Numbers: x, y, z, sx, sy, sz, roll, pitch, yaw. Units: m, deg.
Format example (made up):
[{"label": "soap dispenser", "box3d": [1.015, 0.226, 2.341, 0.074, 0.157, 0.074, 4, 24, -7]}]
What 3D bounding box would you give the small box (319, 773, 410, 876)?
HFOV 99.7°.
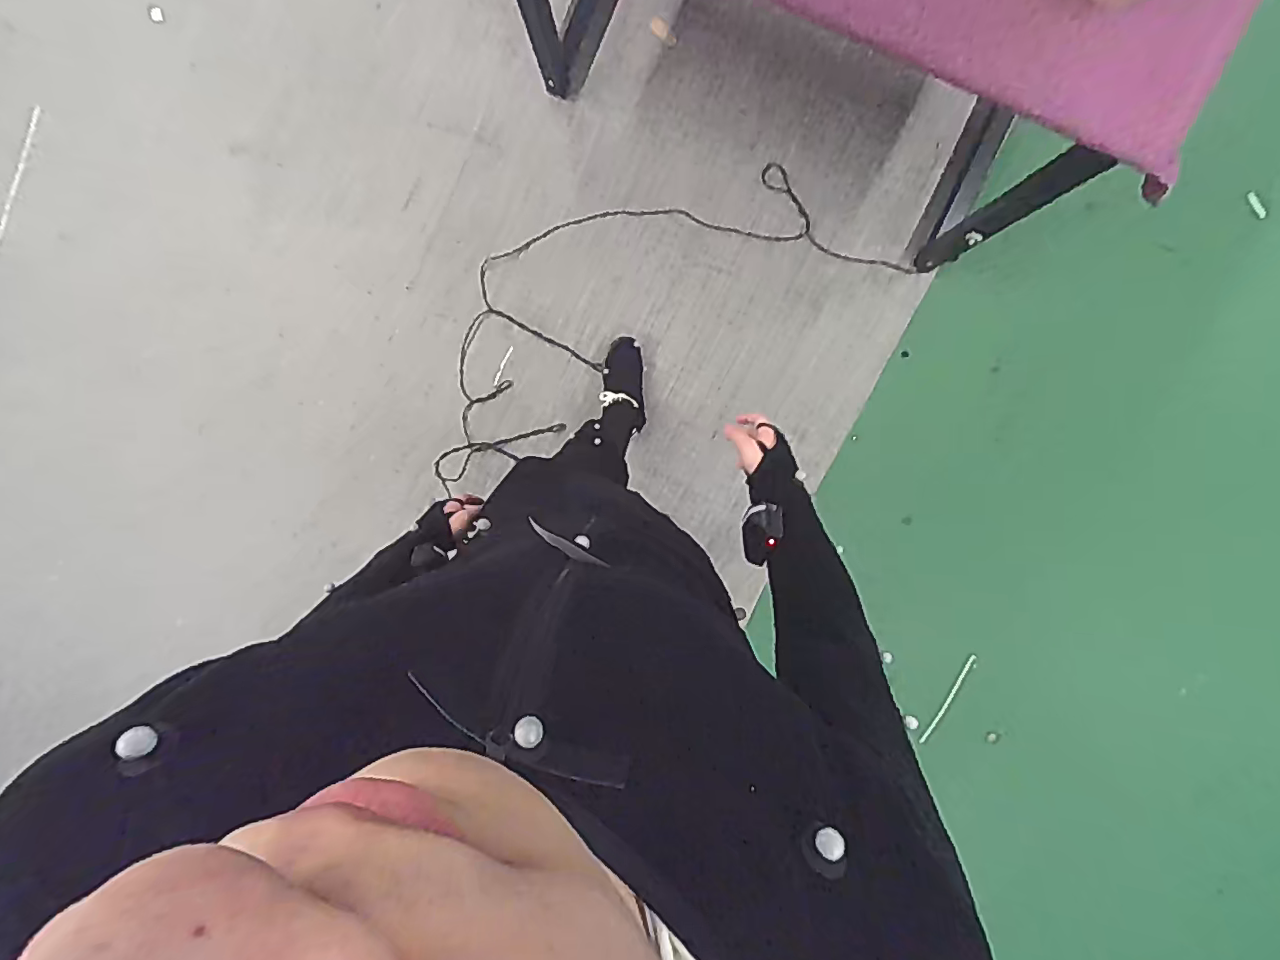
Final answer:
[{"label": "small box", "box3d": [-0.833, 1.045, 1.652, 0.168, 0.176, 0.179, 21, 96, 0]}]
